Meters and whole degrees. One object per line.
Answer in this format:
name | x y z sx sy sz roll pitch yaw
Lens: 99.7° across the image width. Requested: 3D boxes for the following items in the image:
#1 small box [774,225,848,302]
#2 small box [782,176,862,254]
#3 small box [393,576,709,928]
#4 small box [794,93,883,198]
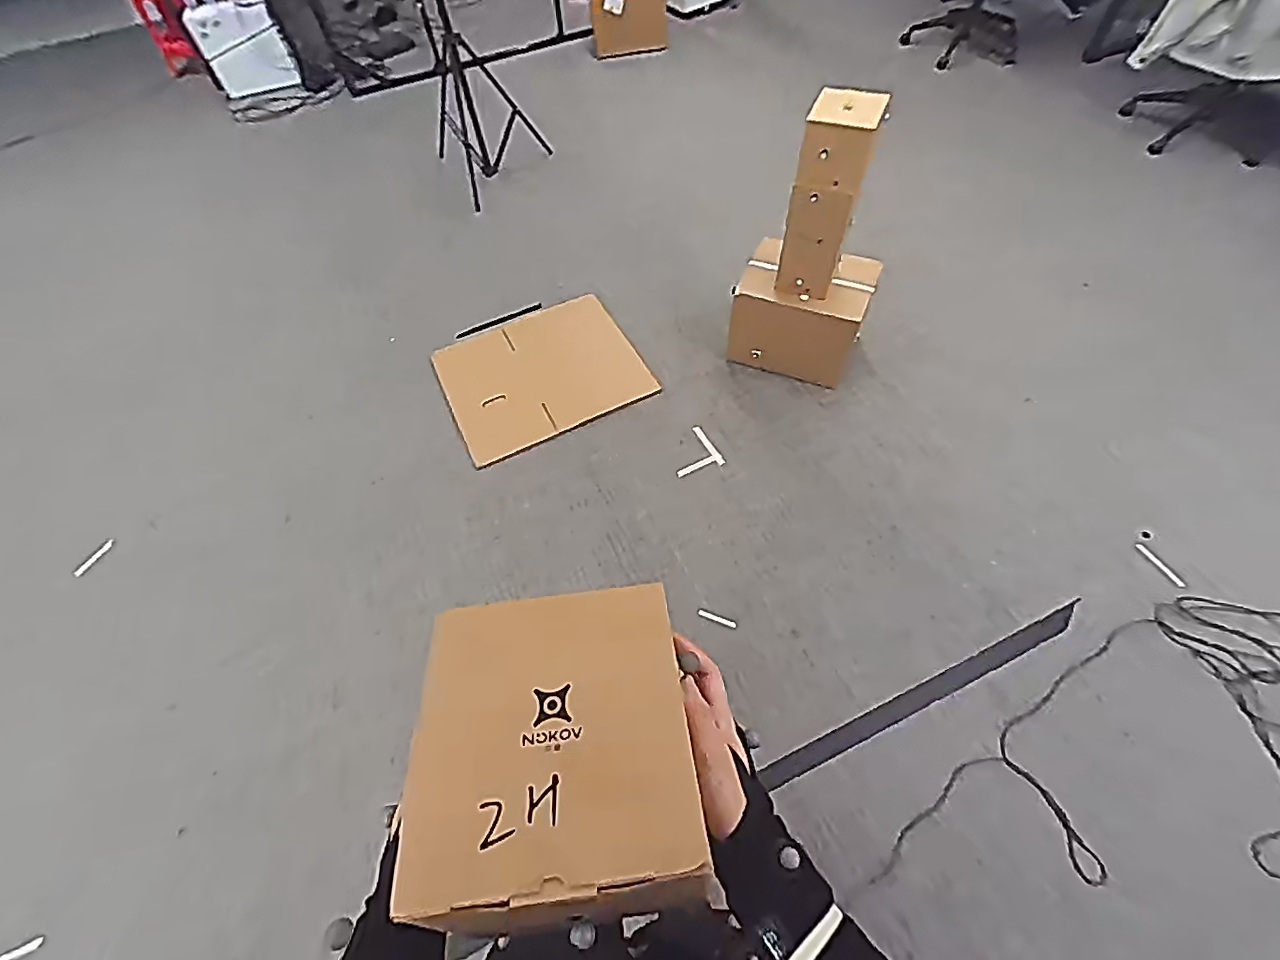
small box | 0.522 -0.686 1.673 0.168 0.176 0.179 18 61 15
small box | 0.513 -0.777 1.537 0.168 0.176 0.179 18 60 16
small box | -0.049 0.196 0.390 0.168 0.176 0.179 -8 47 -1
small box | 0.506 -0.861 1.397 0.168 0.176 0.179 18 60 15
